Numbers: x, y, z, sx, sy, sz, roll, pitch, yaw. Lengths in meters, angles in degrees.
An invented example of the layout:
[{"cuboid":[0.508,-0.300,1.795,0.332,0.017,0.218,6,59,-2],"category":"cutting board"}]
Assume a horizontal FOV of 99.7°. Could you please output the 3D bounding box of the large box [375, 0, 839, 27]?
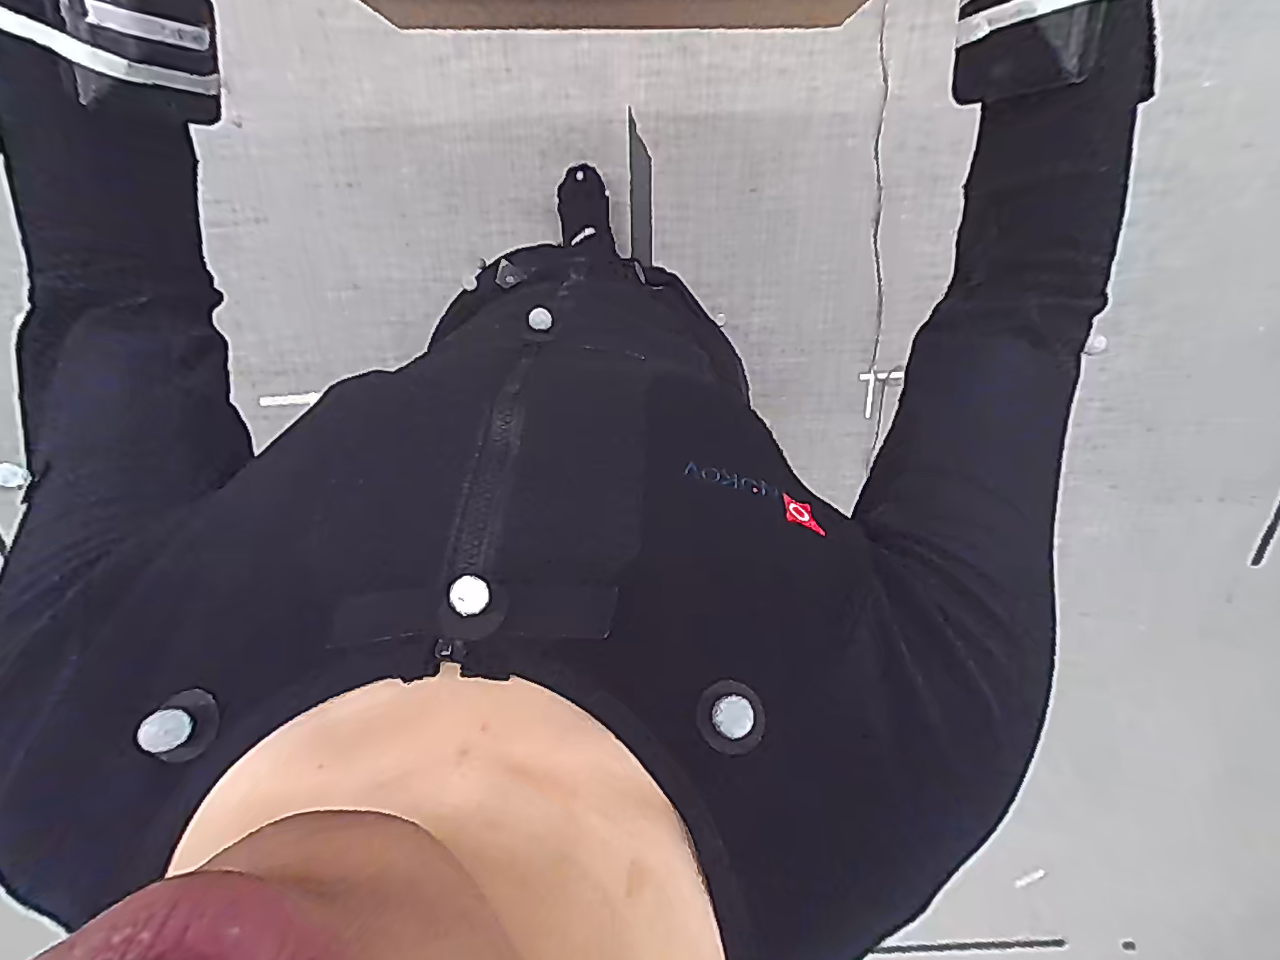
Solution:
[{"cuboid":[-0.025,-0.487,0.290,0.408,0.320,0.320,-1,118,0],"category":"large box"}]
